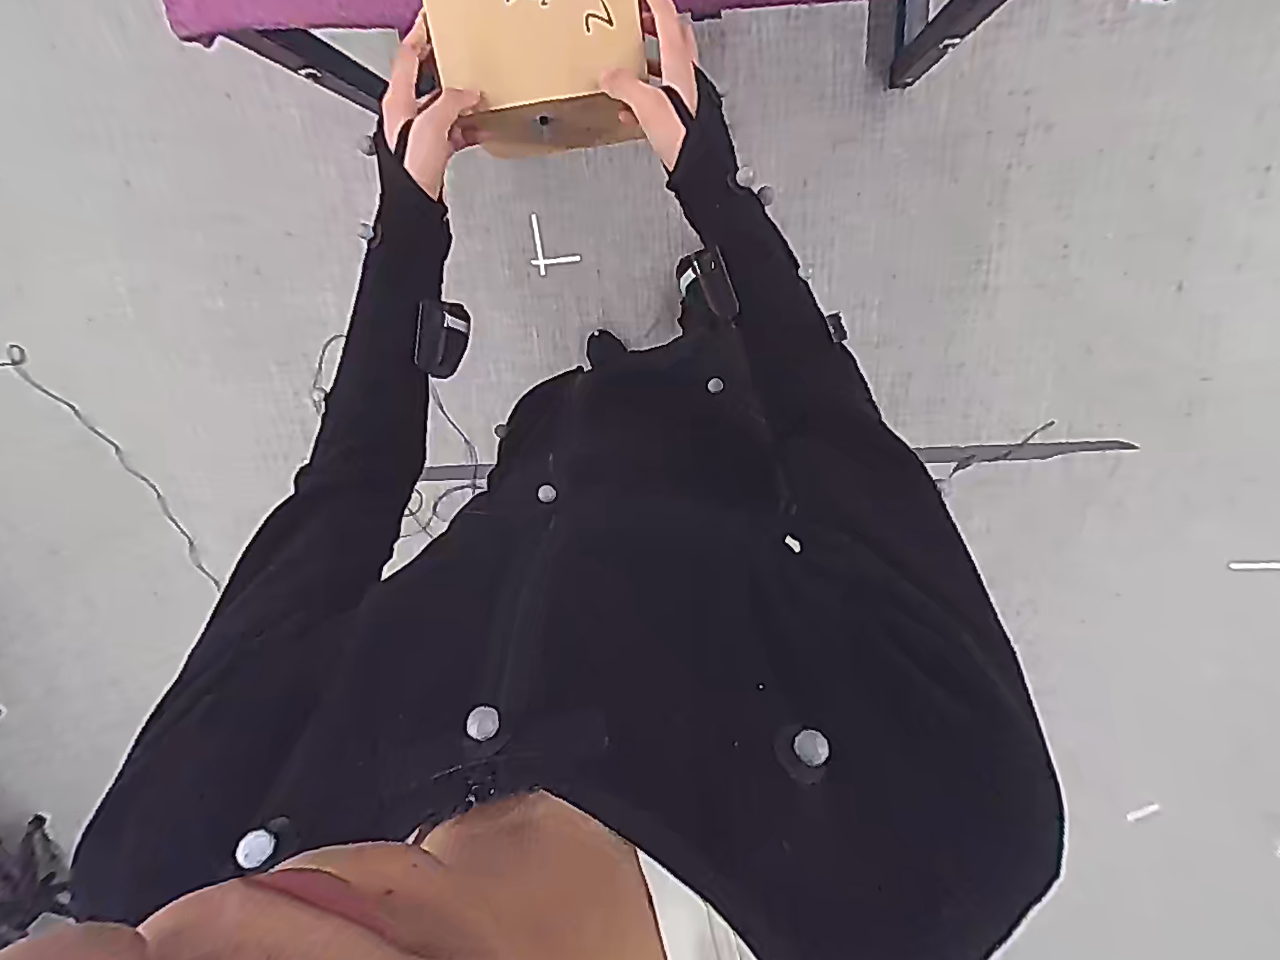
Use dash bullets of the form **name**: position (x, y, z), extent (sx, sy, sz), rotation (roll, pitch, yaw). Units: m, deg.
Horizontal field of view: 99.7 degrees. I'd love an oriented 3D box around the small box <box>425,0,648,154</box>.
- **small box**: position (-0.087, -0.423, 0.505), extent (0.179, 0.176, 0.168), rotation (-7, 110, 2)
